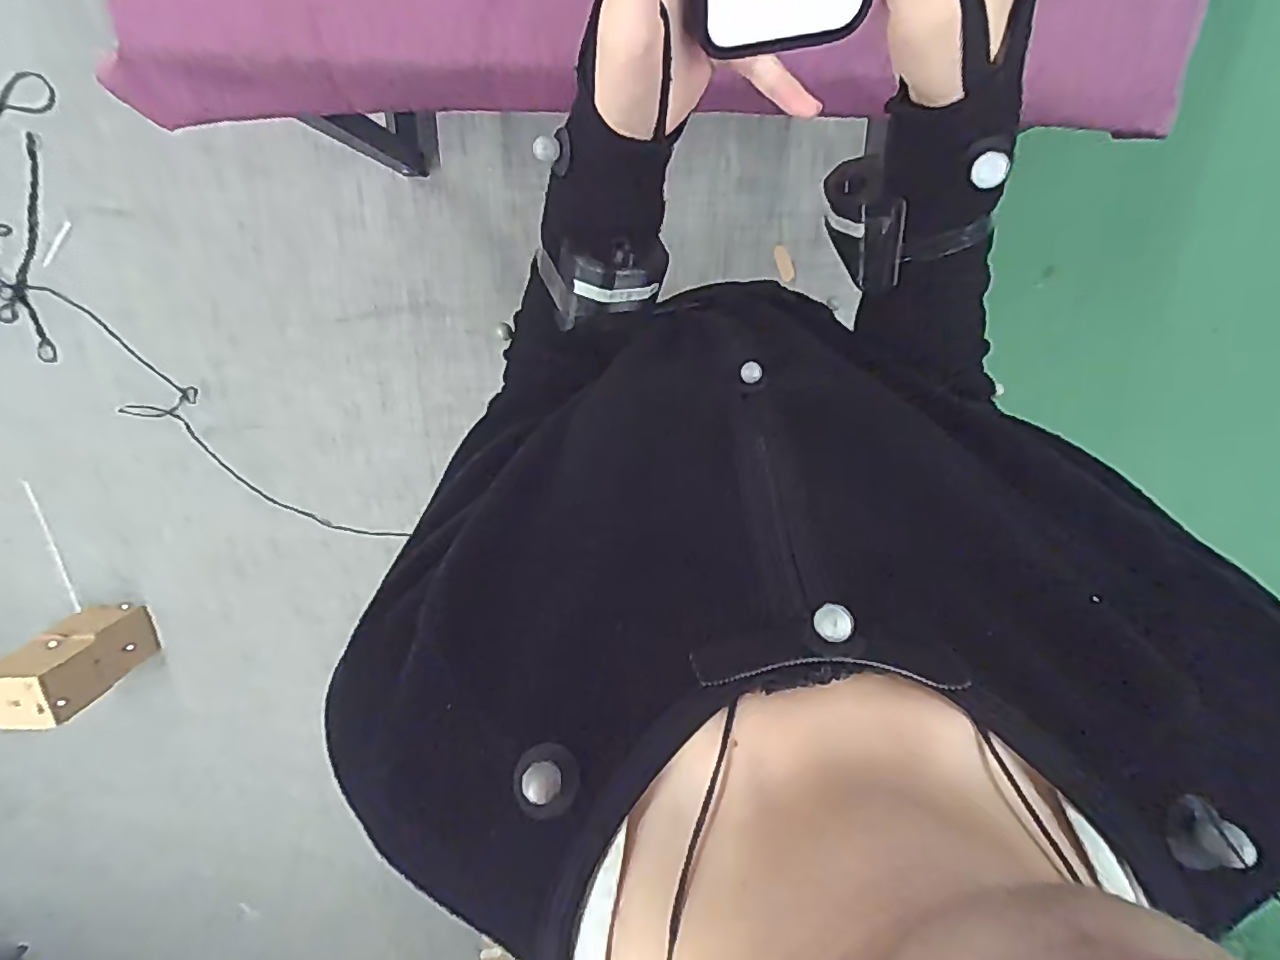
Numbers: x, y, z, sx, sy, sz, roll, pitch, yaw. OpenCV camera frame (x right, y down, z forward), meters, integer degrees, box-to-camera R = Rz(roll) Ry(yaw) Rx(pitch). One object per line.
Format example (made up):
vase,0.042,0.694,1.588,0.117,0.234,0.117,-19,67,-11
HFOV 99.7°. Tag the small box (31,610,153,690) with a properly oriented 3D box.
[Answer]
small box,-1.625,0.502,1.616,0.168,0.176,0.179,0,108,1

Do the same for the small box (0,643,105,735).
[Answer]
small box,-1.626,0.559,1.462,0.179,0.176,0.168,1,108,1
